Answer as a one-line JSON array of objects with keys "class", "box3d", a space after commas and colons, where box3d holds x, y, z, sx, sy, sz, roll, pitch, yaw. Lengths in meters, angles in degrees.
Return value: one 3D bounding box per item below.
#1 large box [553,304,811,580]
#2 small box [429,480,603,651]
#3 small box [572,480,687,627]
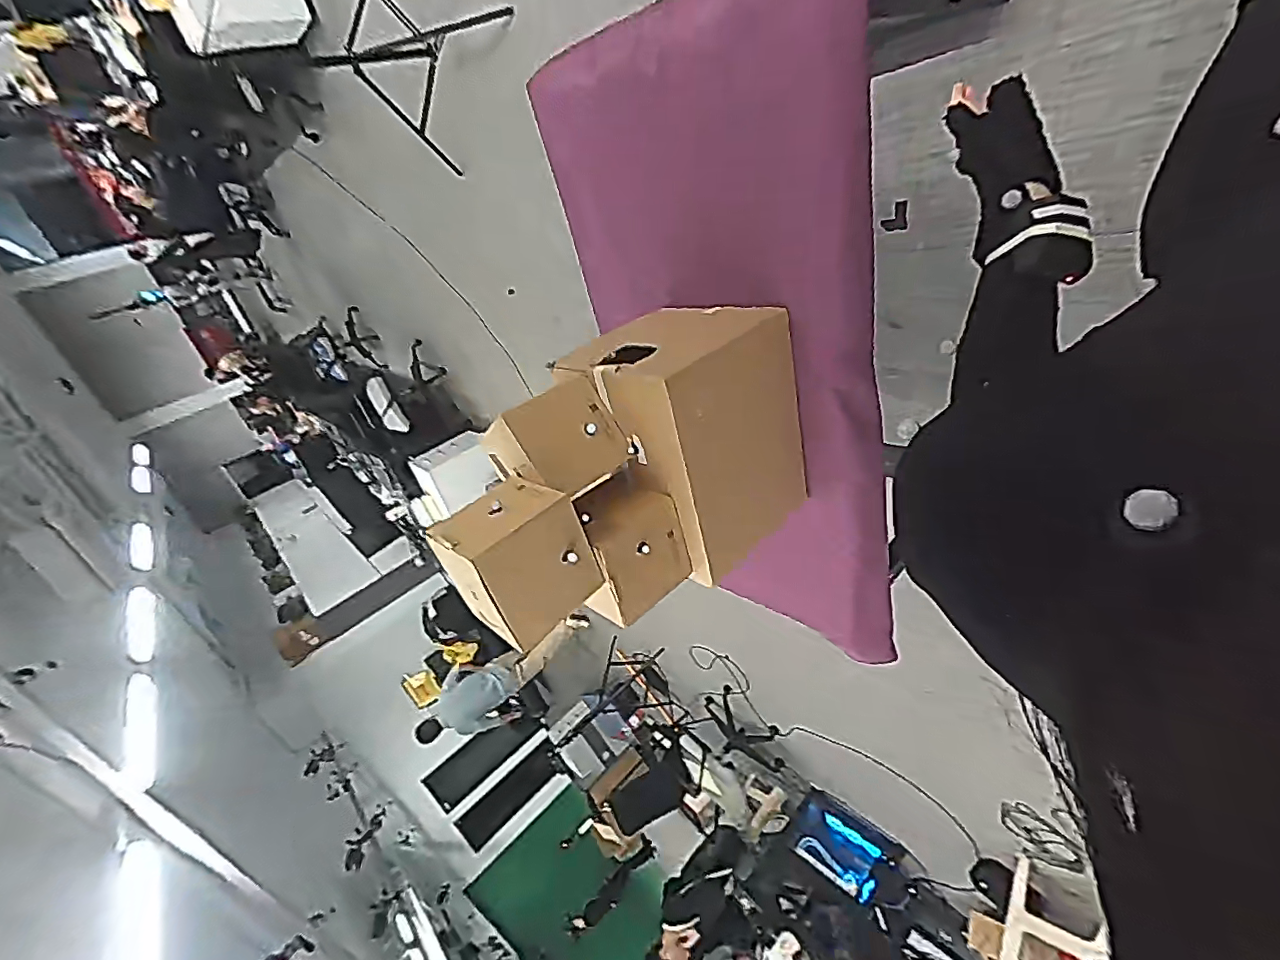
[{"class": "large box", "box3d": [0.096, -0.091, 1.041, 0.320, 0.320, 0.408, 17, 132, 46]}, {"class": "small box", "box3d": [-0.186, 0.119, 0.834, 0.168, 0.176, 0.179, 15, 132, 48]}, {"class": "small box", "box3d": [-0.036, 0.118, 0.949, 0.179, 0.176, 0.168, 18, 132, 48]}]
